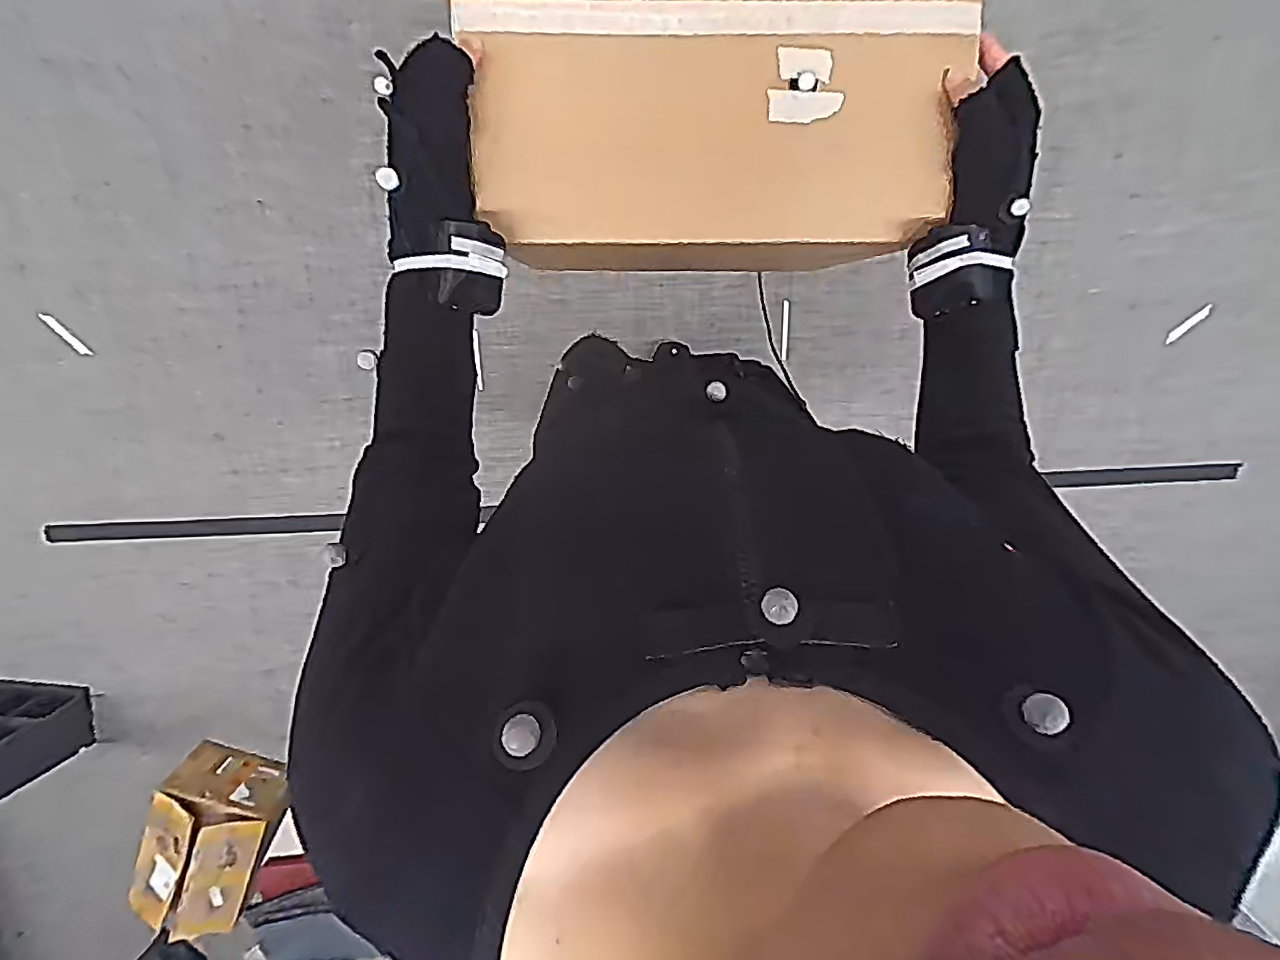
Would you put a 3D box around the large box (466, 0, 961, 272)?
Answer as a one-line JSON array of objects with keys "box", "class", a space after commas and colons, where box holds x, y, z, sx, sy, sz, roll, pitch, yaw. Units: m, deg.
[{"box": [0.053, -0.404, 0.577, 0.408, 0.320, 0.320, -2, 108, -3], "class": "large box"}]
